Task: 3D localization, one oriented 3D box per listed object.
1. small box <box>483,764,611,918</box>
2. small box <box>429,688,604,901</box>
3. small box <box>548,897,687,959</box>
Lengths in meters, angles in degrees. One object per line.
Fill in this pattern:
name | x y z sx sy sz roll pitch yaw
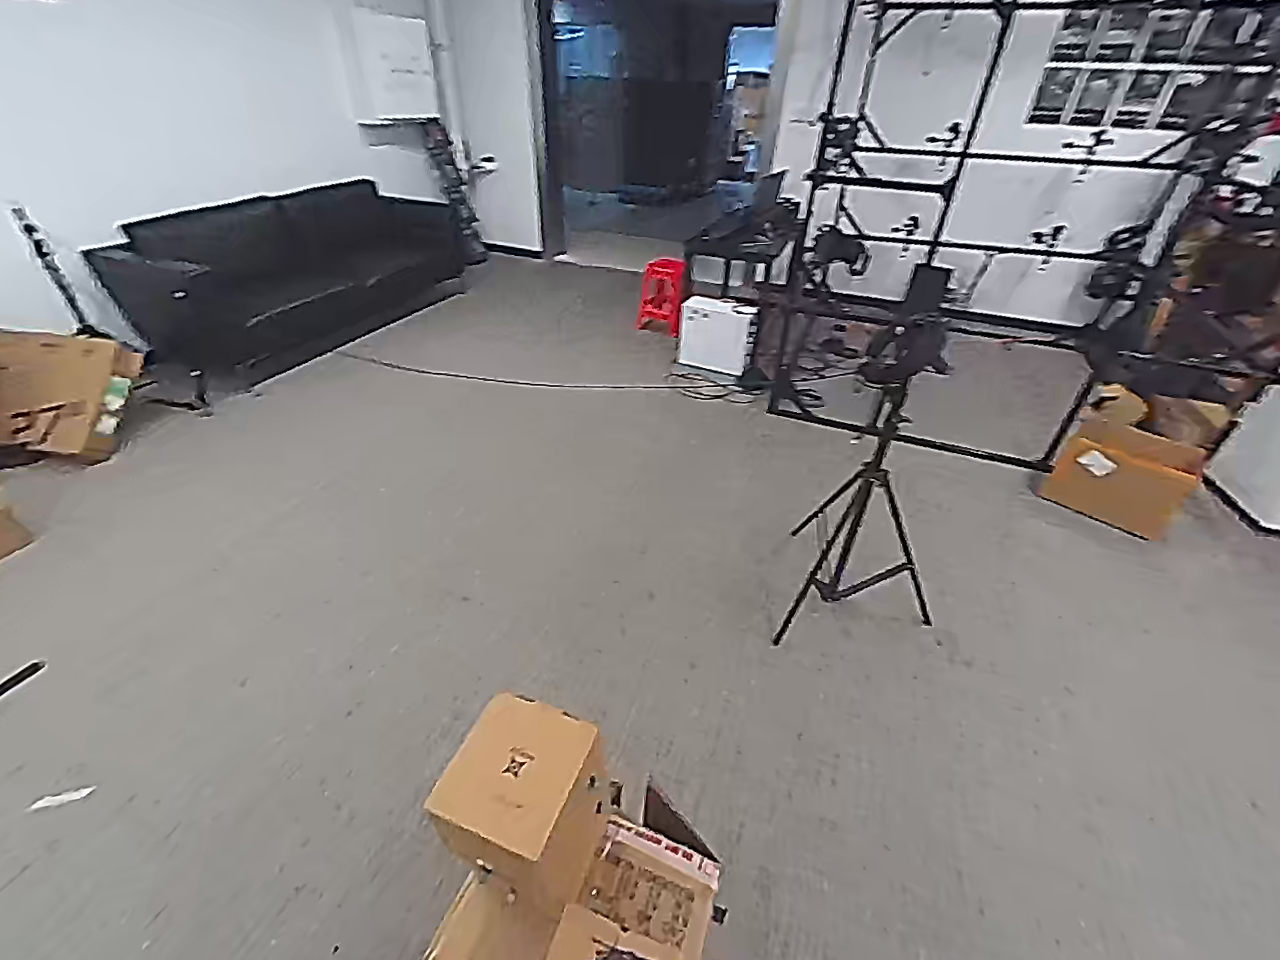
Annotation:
small box | -0.154 0.550 0.870 0.168 0.176 0.179 13 40 17
small box | -0.157 0.434 0.754 0.168 0.176 0.179 12 40 17
small box | -0.048 0.689 0.690 0.168 0.176 0.179 14 40 15
